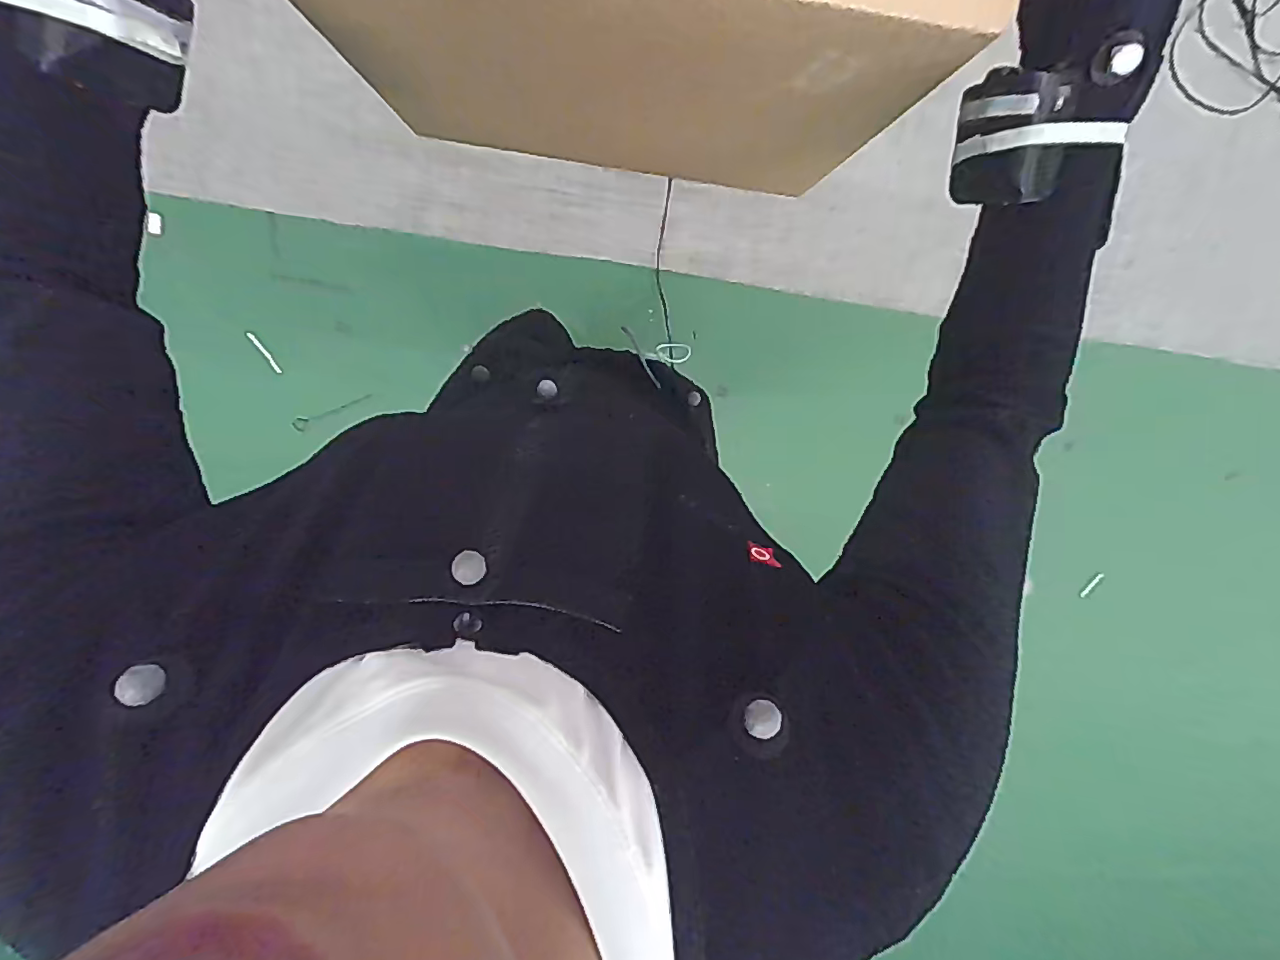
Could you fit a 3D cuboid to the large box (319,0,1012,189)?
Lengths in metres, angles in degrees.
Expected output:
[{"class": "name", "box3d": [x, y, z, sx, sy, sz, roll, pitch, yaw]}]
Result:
[{"class": "large box", "box3d": [0.005, -0.438, 0.384, 0.408, 0.320, 0.320, 6, 104, -5]}]
